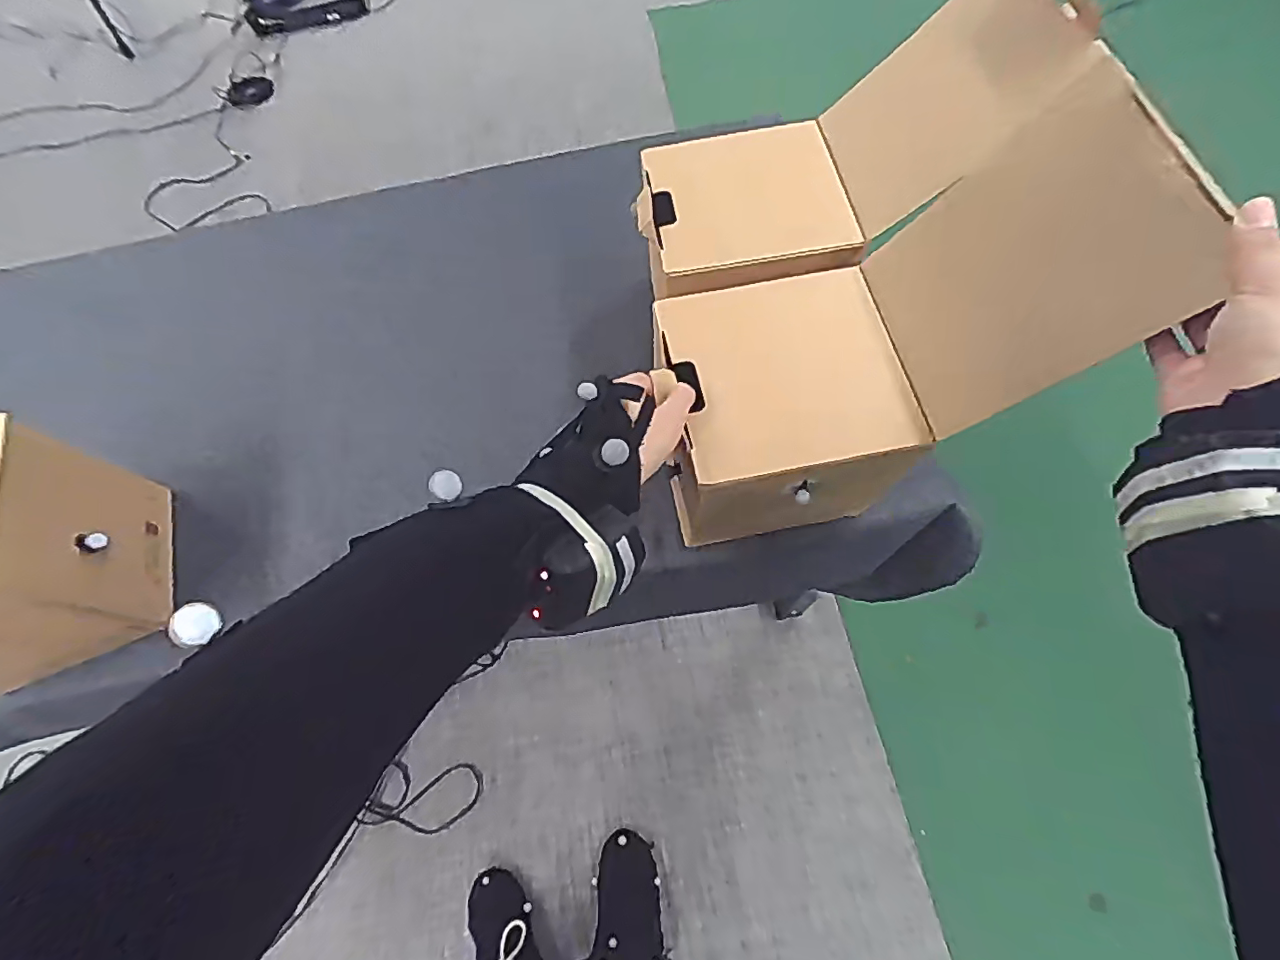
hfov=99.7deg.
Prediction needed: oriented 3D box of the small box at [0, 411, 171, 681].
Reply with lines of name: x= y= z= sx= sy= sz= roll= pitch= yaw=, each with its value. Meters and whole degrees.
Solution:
small box: x=-0.580 y=0.070 z=0.497 sx=0.179 sy=0.176 sz=0.168 roll=-22 pitch=66 yaw=-4

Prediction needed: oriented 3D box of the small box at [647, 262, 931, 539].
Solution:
small box: x=0.107 y=-0.056 z=0.475 sx=0.179 sy=0.176 sz=0.168 roll=-11 pitch=70 yaw=-3
